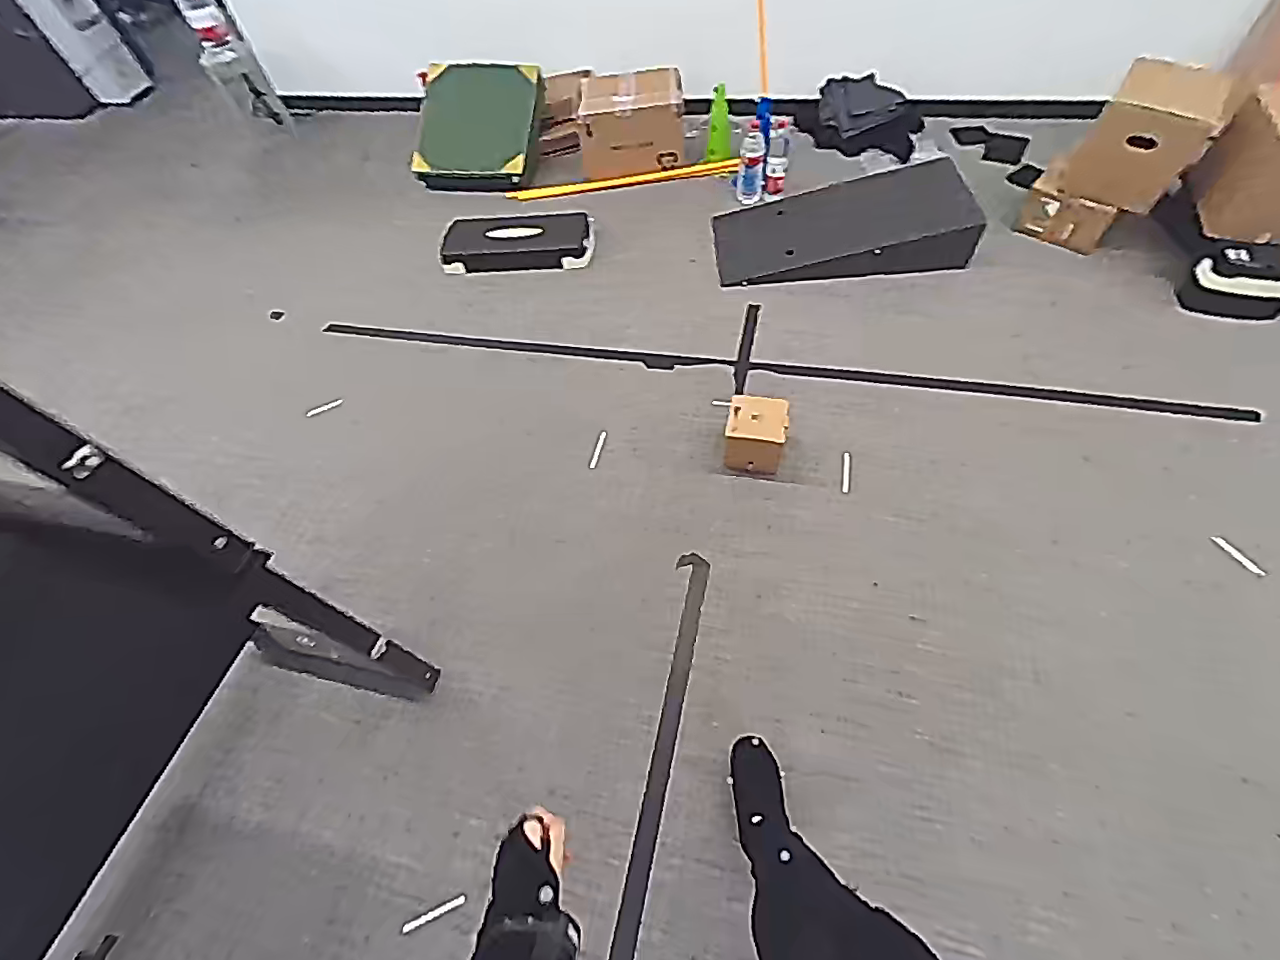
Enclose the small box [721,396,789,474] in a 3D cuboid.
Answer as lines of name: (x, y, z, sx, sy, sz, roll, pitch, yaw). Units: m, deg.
small box: (0.355, -0.135, 1.685, 0.179, 0.176, 0.168, 9, 58, 10)
